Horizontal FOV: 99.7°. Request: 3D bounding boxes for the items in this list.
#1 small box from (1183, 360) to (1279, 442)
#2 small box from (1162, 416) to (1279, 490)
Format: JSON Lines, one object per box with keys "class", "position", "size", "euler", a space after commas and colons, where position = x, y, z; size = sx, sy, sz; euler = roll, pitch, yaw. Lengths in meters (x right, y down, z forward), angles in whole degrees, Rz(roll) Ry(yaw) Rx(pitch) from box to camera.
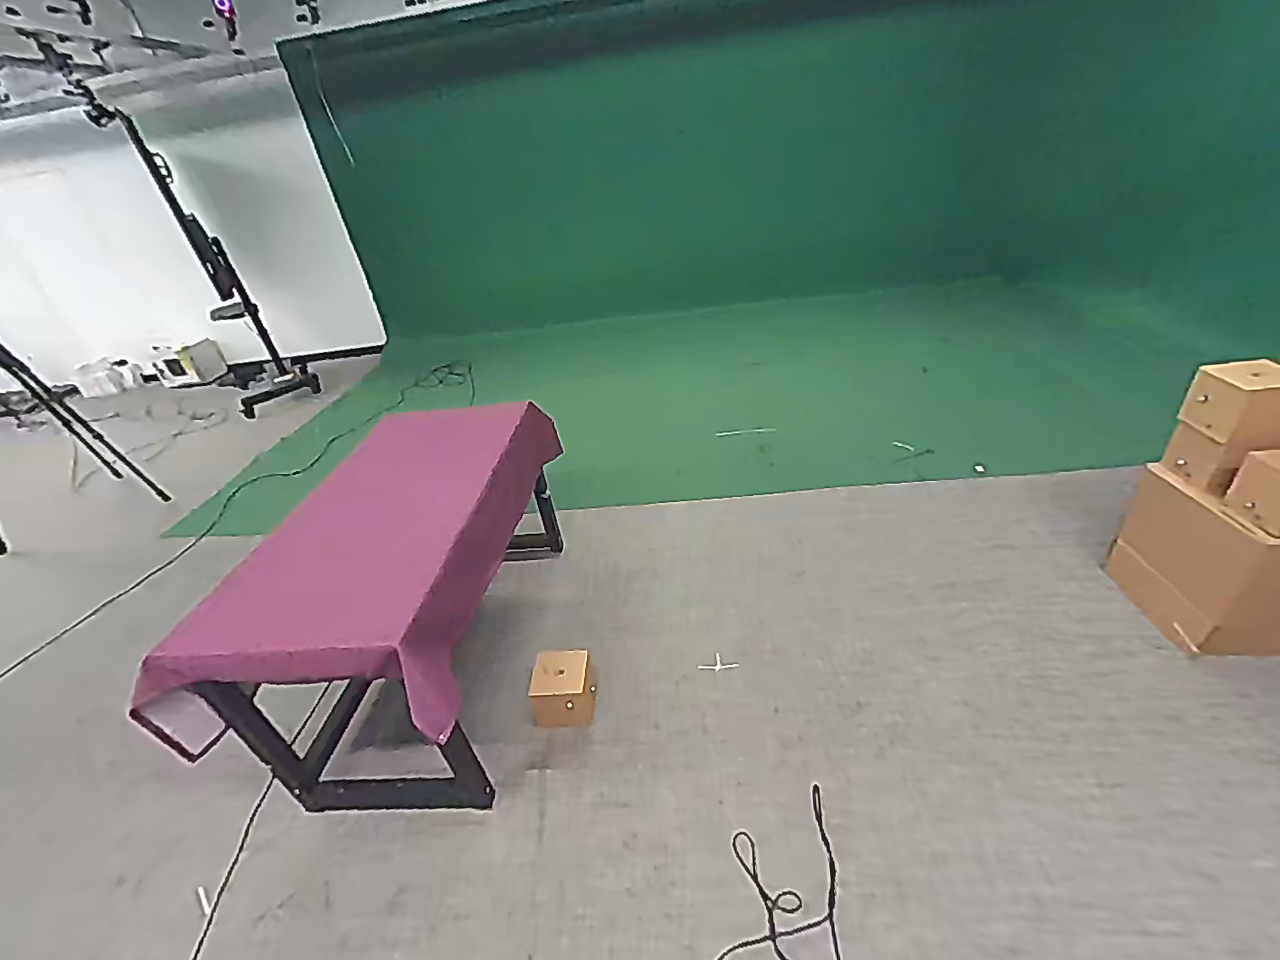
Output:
{"class": "small box", "position": [1.691, -0.219, 1.516], "size": [0.179, 0.176, 0.168], "euler": [-5, 34, 7]}
{"class": "small box", "position": [1.726, -0.086, 1.603], "size": [0.179, 0.176, 0.168], "euler": [-6, 34, 8]}
